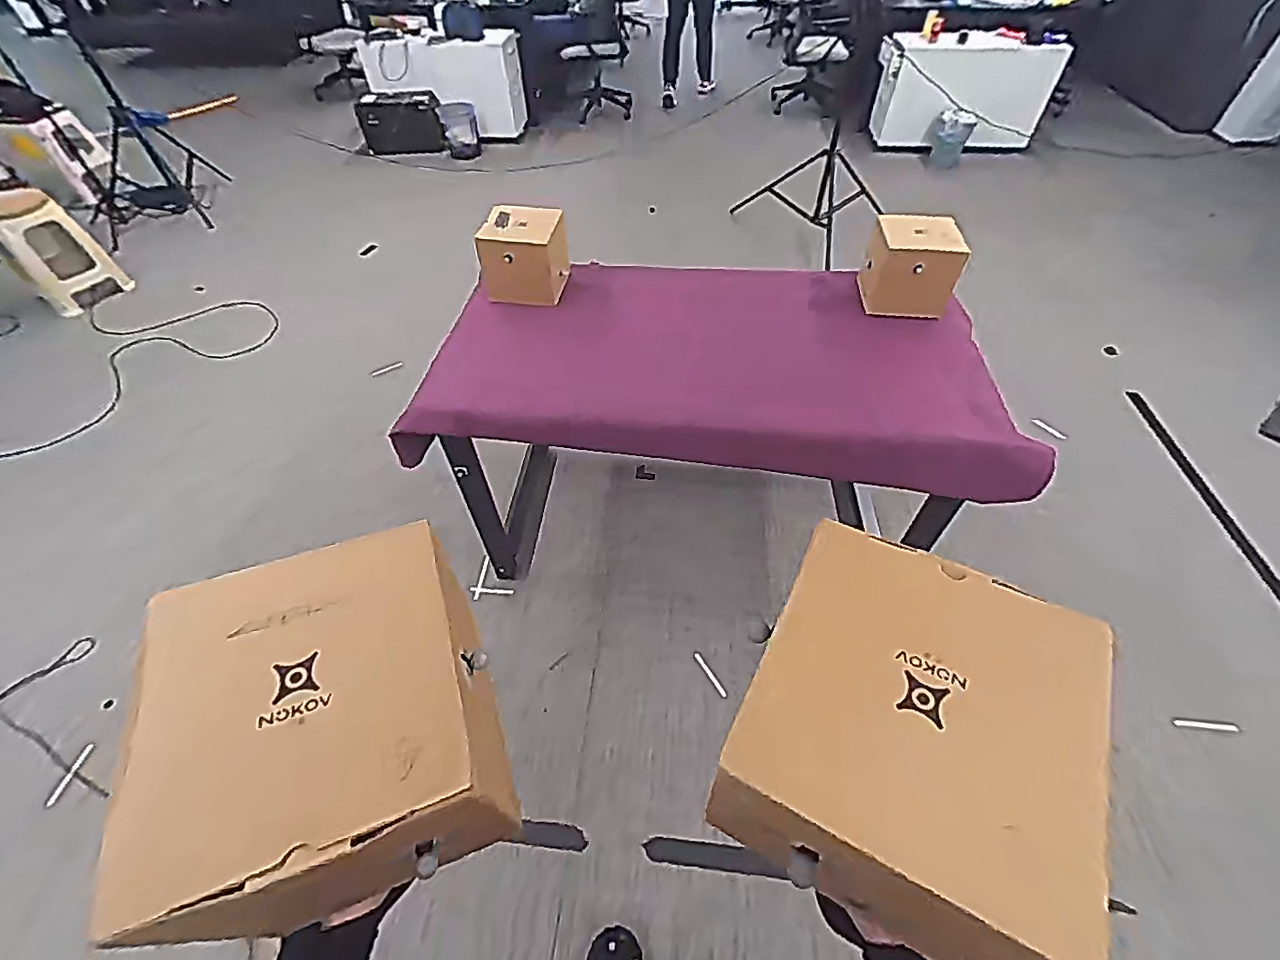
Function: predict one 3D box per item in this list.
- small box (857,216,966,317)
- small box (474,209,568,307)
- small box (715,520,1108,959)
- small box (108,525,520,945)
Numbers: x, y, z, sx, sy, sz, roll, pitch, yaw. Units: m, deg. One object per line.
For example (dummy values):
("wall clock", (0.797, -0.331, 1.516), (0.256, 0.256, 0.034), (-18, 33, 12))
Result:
("small box", (0.634, -0.509, 1.292), (0.179, 0.176, 0.168), (5, 51, 4))
("small box", (-0.287, -0.550, 1.345), (0.179, 0.176, 0.168), (7, 52, 5))
("small box", (0.156, 0.164, 0.349), (0.168, 0.176, 0.179), (21, 53, 21))
("small box", (-0.186, 0.164, 0.361), (0.168, 0.176, 0.179), (-16, 53, -16))
